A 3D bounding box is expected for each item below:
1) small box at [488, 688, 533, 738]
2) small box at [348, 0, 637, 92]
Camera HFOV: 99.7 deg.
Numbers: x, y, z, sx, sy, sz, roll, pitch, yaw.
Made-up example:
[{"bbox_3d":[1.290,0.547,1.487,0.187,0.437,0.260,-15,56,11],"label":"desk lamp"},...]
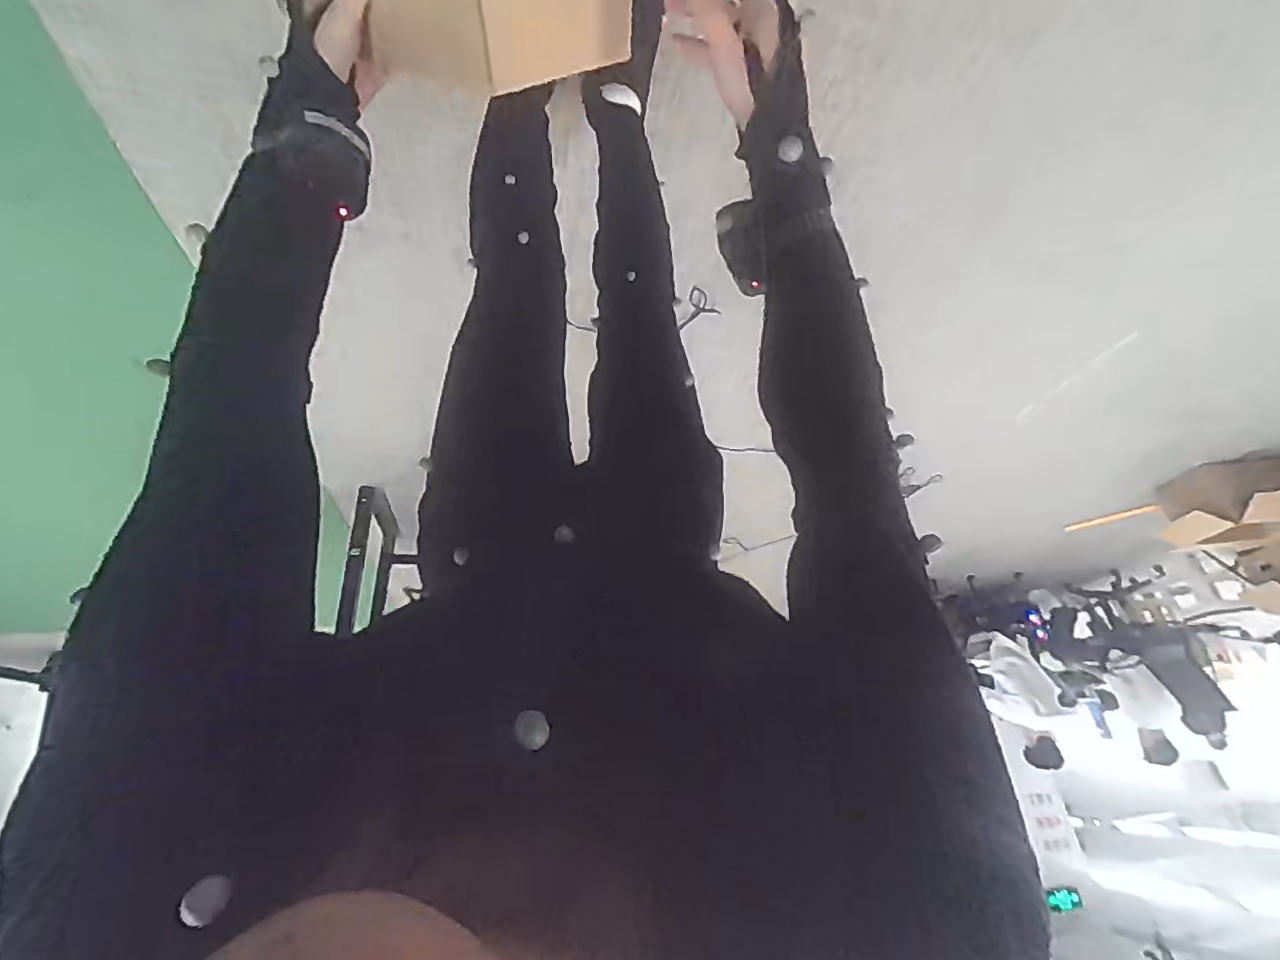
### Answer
[{"bbox_3d":[-0.541,0.970,2.254,0.179,0.176,0.168,2,150,-15],"label":"small box"},{"bbox_3d":[-0.109,-0.417,0.392,0.168,0.176,0.179,29,143,20],"label":"small box"}]
